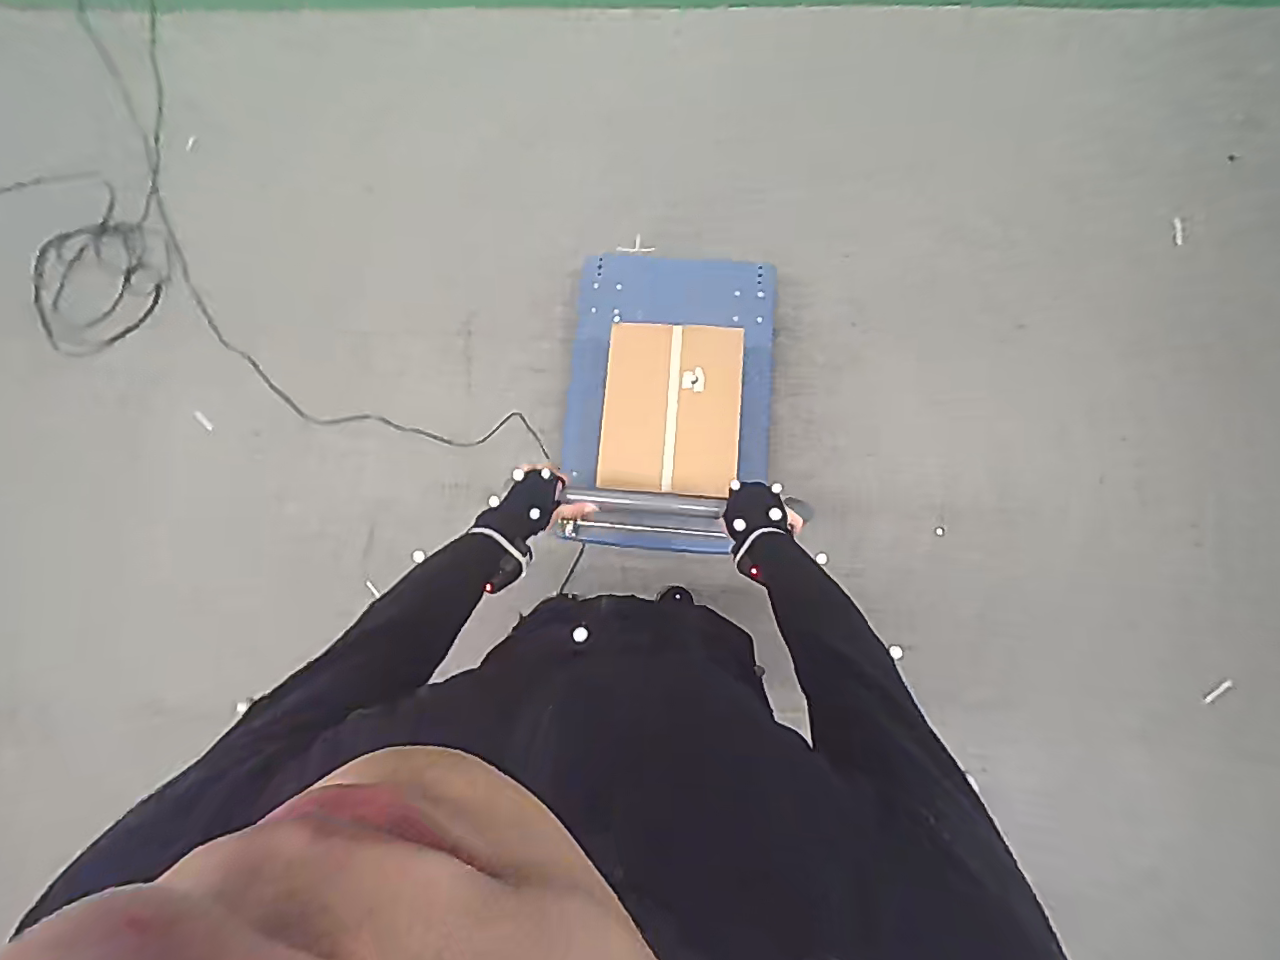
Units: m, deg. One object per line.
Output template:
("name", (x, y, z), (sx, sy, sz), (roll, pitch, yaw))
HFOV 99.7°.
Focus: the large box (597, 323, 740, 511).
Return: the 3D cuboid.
("large box", (0.077, -0.142, 1.389), (0.320, 0.320, 0.408), (5, 79, 3))
